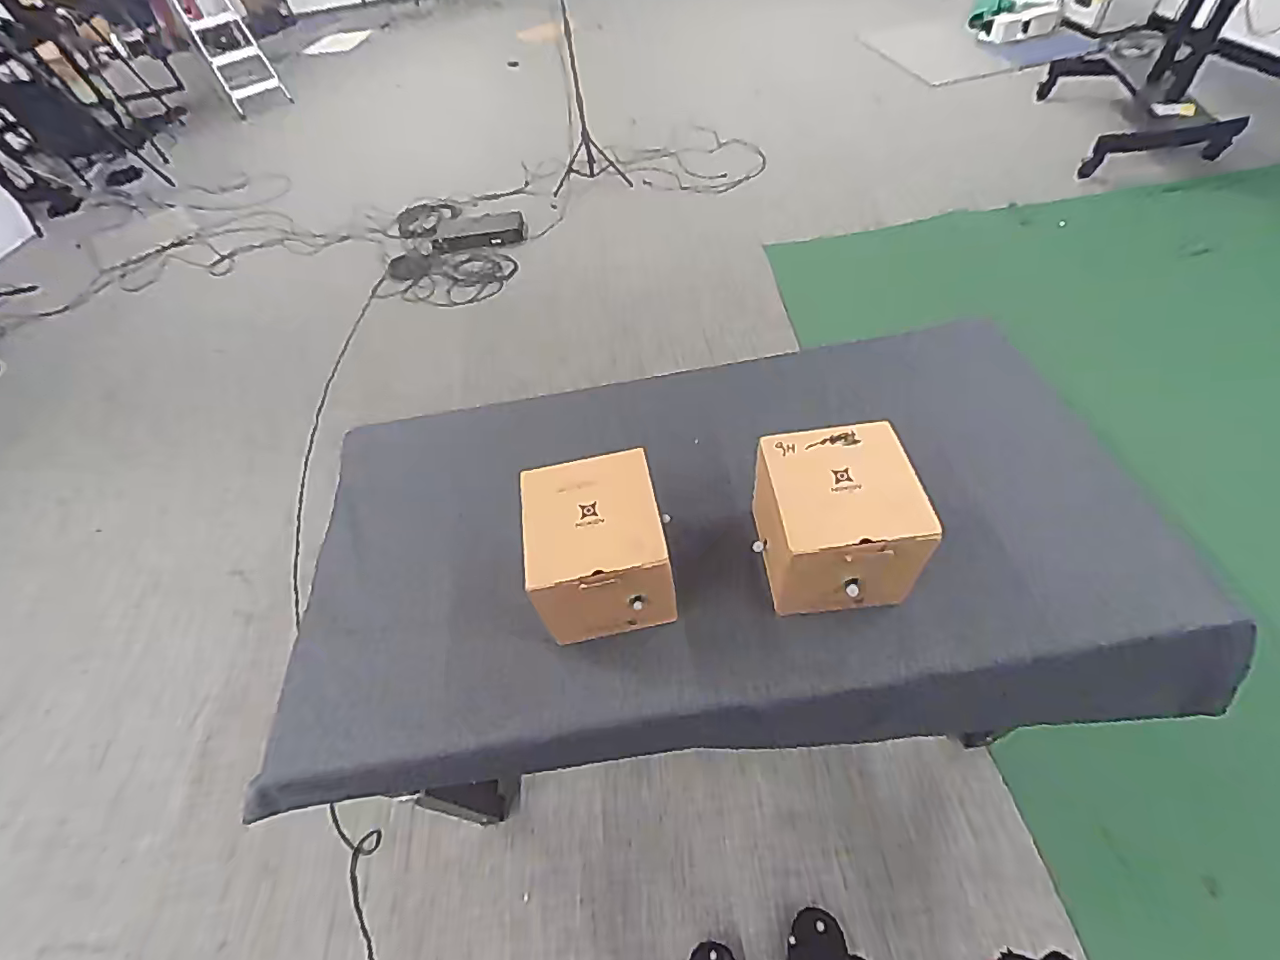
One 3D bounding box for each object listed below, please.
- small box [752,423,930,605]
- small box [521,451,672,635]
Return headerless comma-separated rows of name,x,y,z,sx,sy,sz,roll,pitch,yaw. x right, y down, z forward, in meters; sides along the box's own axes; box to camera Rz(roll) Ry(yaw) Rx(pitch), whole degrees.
small box,0.244,0.053,0.708,0.168,0.176,0.179,-7,53,3
small box,-0.055,0.092,0.726,0.168,0.176,0.179,-12,51,-2
